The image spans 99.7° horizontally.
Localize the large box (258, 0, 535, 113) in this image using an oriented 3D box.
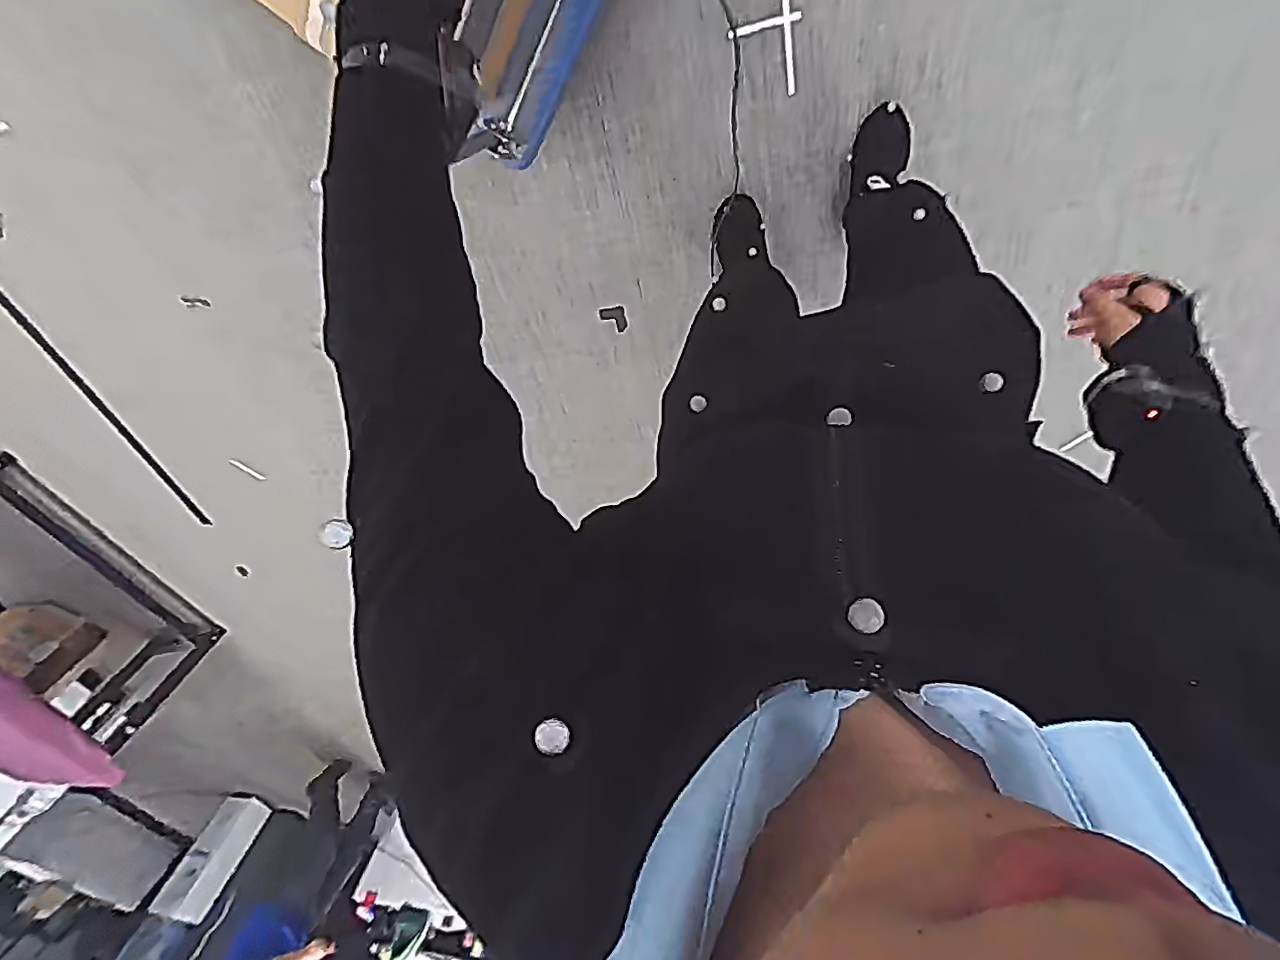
[{"bbox_3d":[-0.315,-0.812,0.752,0.320,0.320,0.408,31,126,-14],"label":"large box"}]
